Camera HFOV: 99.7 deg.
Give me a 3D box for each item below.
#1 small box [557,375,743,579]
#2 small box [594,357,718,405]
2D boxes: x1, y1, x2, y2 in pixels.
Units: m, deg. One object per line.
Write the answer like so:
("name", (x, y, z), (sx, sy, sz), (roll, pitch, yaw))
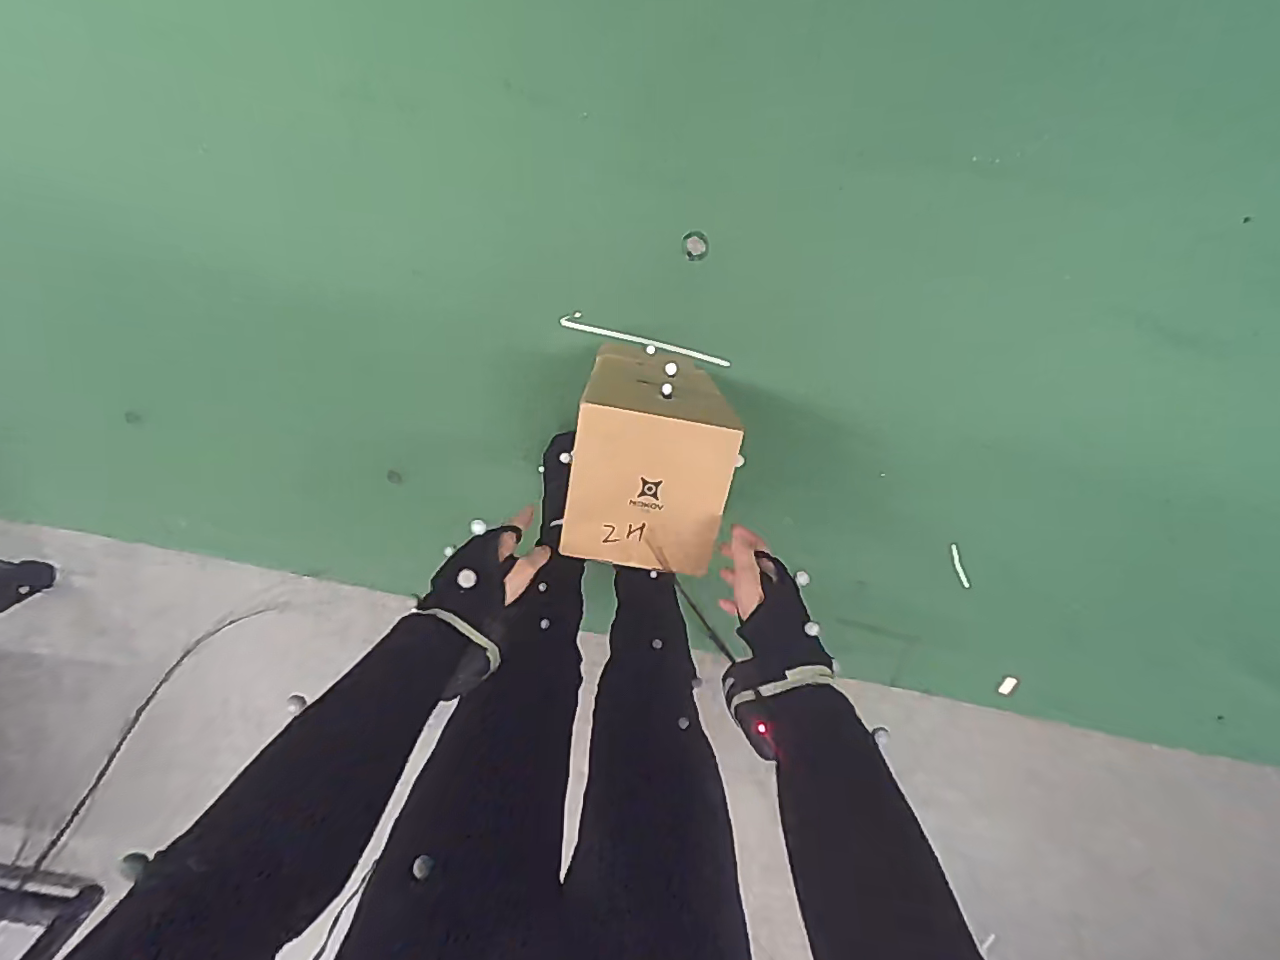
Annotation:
("small box", (0.006, -0.014, 0.633), (0.168, 0.176, 0.179), (11, 112, -4))
("small box", (0.005, -0.072, 0.787), (0.168, 0.176, 0.179), (9, 112, -4))
